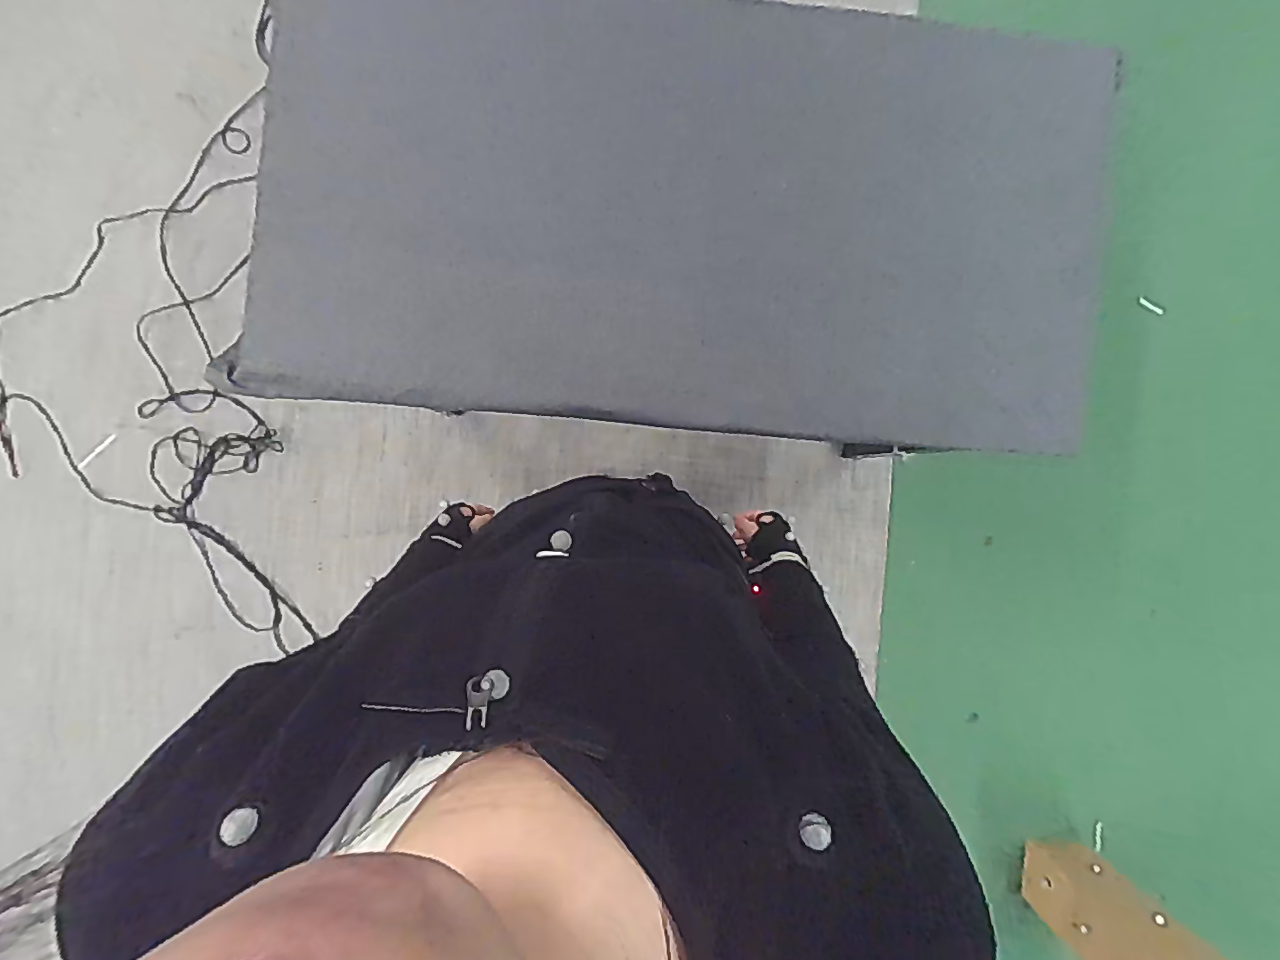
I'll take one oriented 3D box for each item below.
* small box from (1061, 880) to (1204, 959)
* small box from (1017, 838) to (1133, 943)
[{"bbox_3d":[1.154,1.090,1.278,0.179,0.176,0.168,7,89,-1],"label":"small box"},{"bbox_3d":[1.151,1.093,1.443,0.179,0.176,0.168,5,90,-2],"label":"small box"}]
